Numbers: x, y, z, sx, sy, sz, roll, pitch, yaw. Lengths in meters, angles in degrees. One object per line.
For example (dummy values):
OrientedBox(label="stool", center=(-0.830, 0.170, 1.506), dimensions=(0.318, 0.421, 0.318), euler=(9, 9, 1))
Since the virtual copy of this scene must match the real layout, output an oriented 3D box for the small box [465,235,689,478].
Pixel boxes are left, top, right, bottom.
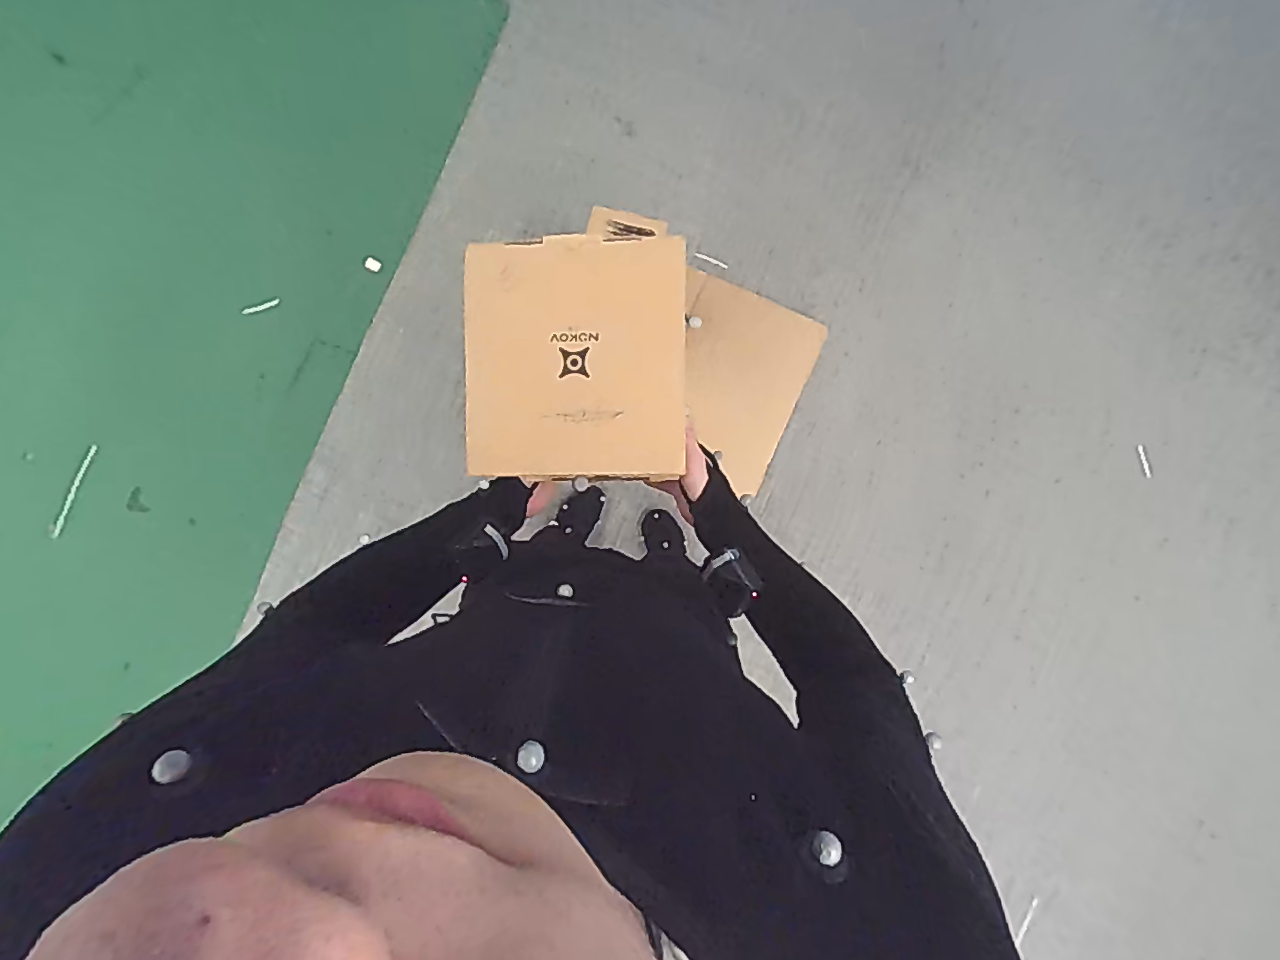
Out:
OrientedBox(label="small box", center=(-0.043, -0.091, 0.473), dimensions=(0.168, 0.176, 0.179), euler=(-1, 91, 4))
